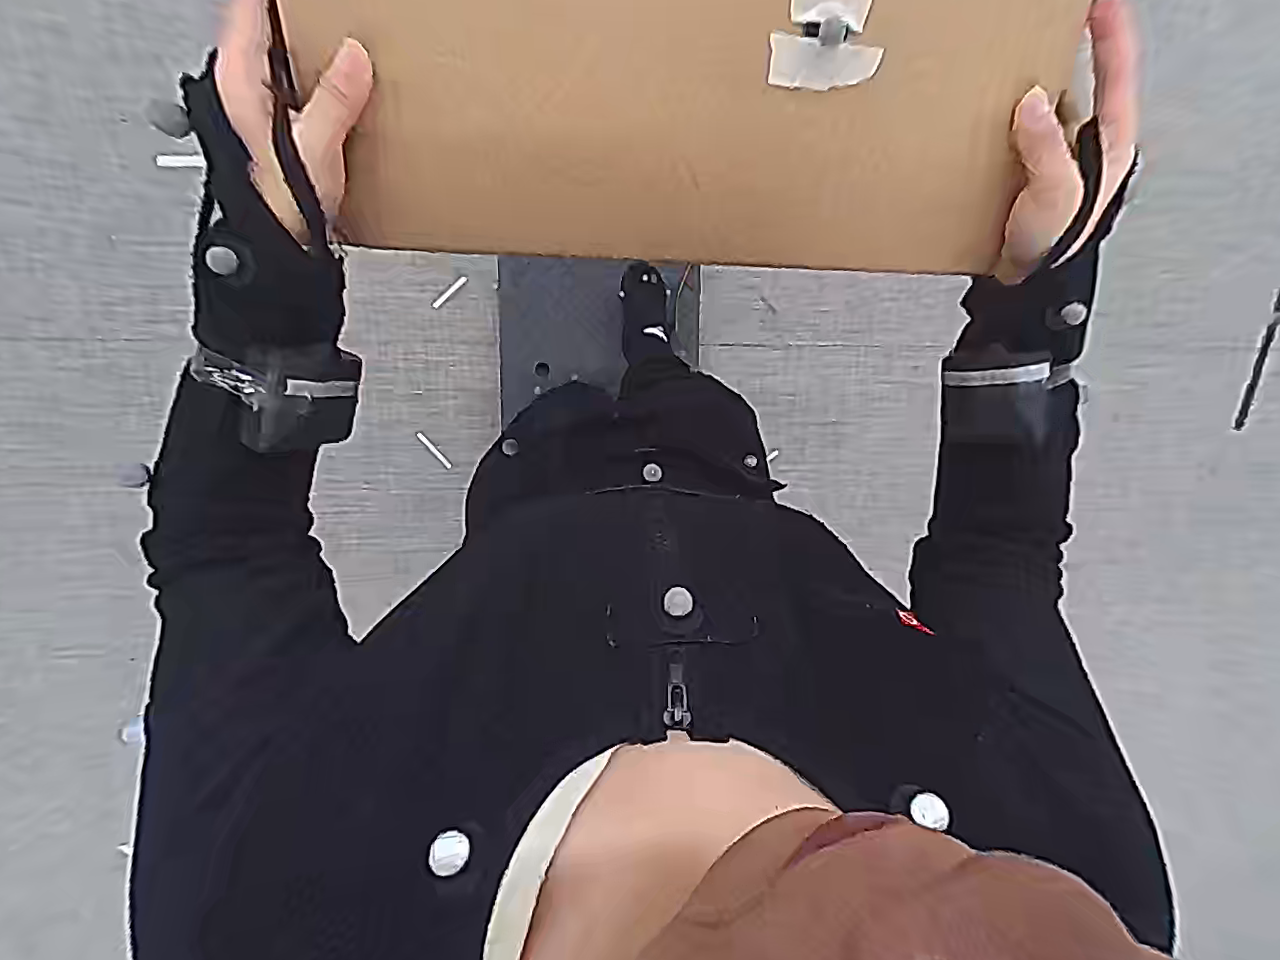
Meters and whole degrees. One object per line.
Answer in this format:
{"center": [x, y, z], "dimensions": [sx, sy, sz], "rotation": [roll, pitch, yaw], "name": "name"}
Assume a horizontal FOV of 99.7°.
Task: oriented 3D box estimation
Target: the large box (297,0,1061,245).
{"center": [0.016, -0.355, 0.389], "dimensions": [0.408, 0.320, 0.320], "rotation": [0, 120, -5], "name": "large box"}

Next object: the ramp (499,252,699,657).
{"center": [-0.100, -0.052, 1.351], "dimensions": [0.509, 0.206, 0.991], "rotation": [-1, 104, -3], "name": "ramp"}
